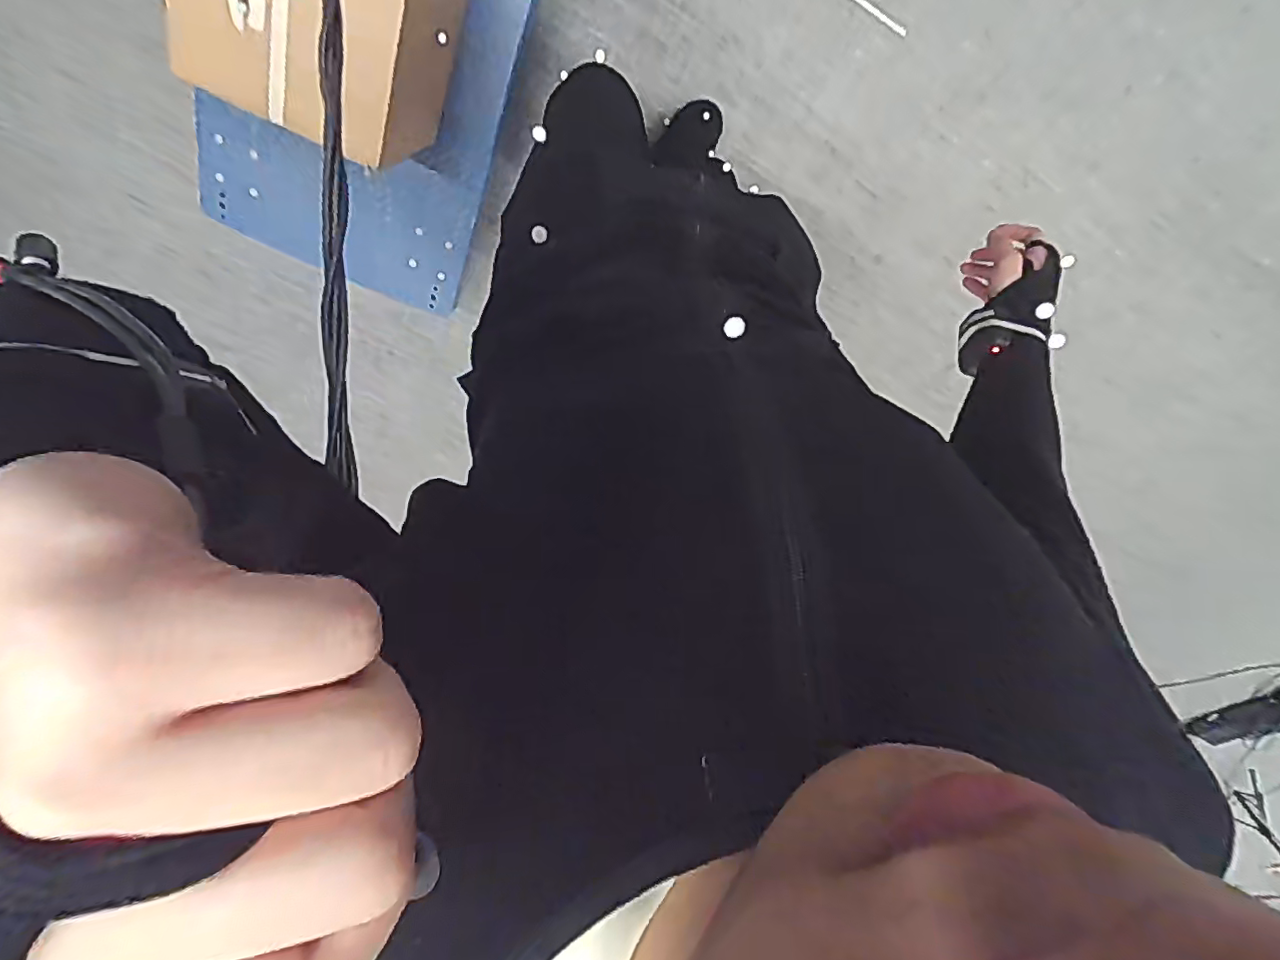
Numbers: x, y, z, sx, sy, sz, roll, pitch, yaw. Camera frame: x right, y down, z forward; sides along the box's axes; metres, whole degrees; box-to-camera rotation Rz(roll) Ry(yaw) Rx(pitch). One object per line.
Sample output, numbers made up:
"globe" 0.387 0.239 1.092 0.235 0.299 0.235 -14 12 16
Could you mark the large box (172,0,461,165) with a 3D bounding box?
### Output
"large box" -0.480 -0.809 0.859 0.320 0.320 0.408 22 127 -16
